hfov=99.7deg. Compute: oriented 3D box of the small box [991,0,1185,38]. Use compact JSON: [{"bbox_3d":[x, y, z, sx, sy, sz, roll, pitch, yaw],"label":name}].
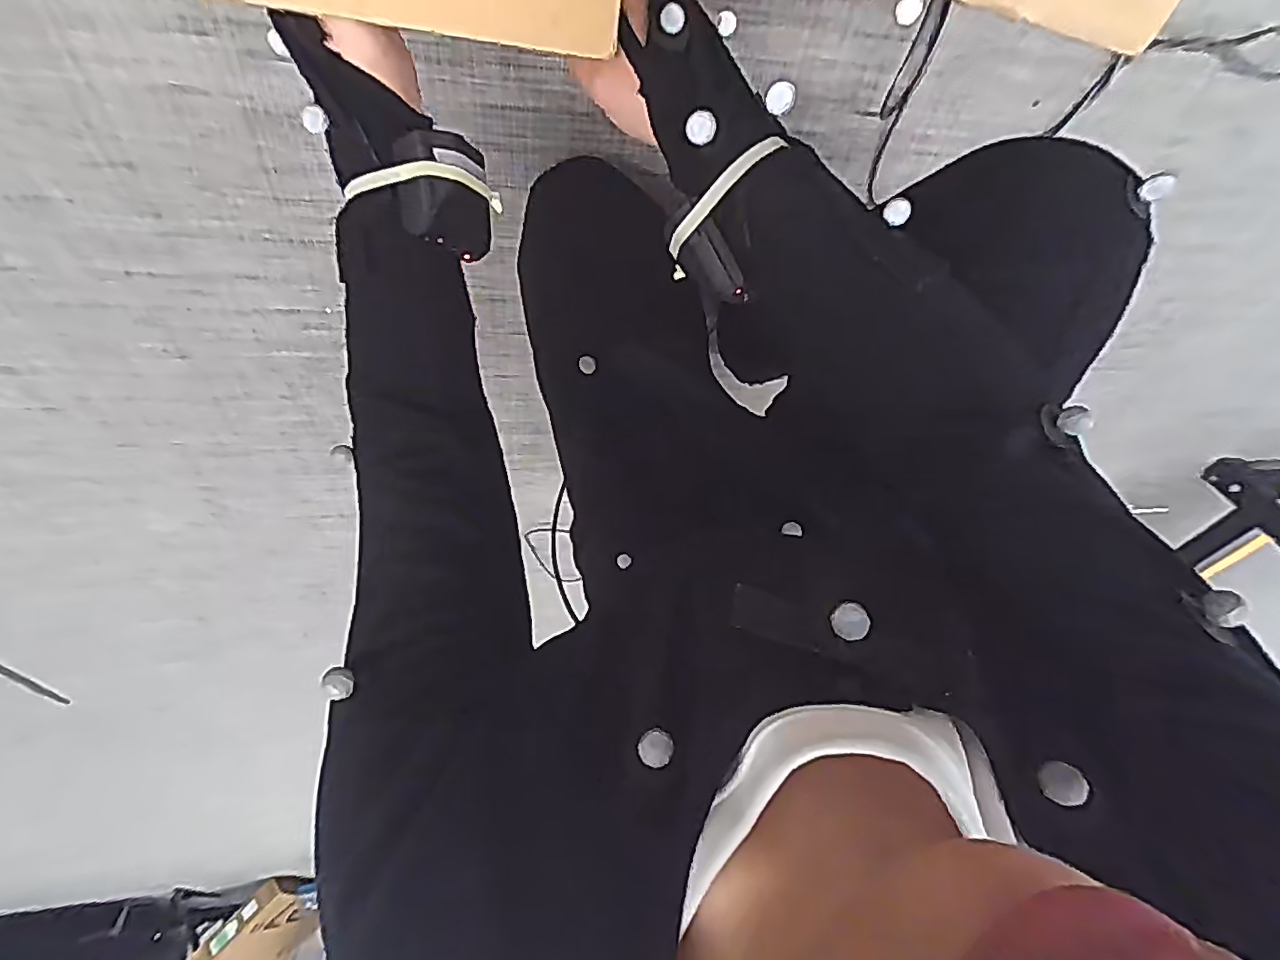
[{"bbox_3d":[0.159,-0.319,0.221,0.179,0.176,0.168,3,138,-15],"label":"small box"}]
